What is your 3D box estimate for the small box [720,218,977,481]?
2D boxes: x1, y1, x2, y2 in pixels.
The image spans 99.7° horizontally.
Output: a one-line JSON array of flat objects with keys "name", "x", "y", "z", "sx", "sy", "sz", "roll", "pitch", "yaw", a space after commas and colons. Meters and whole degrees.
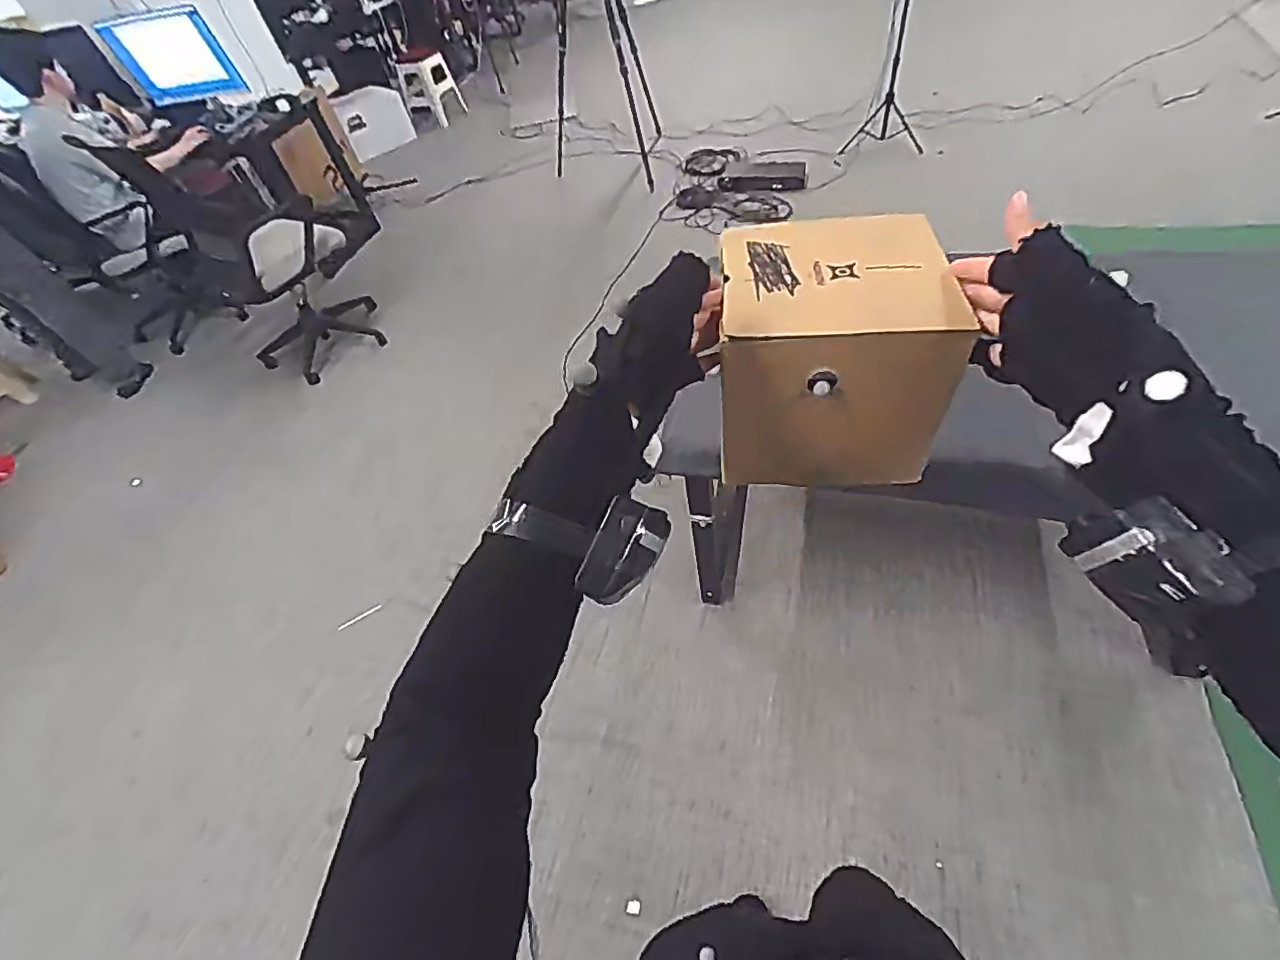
[{"name": "small box", "x": 0.164, "y": -0.112, "z": 0.491, "sx": 0.179, "sy": 0.176, "sz": 0.168, "roll": 0, "pitch": 51, "yaw": 9}]
